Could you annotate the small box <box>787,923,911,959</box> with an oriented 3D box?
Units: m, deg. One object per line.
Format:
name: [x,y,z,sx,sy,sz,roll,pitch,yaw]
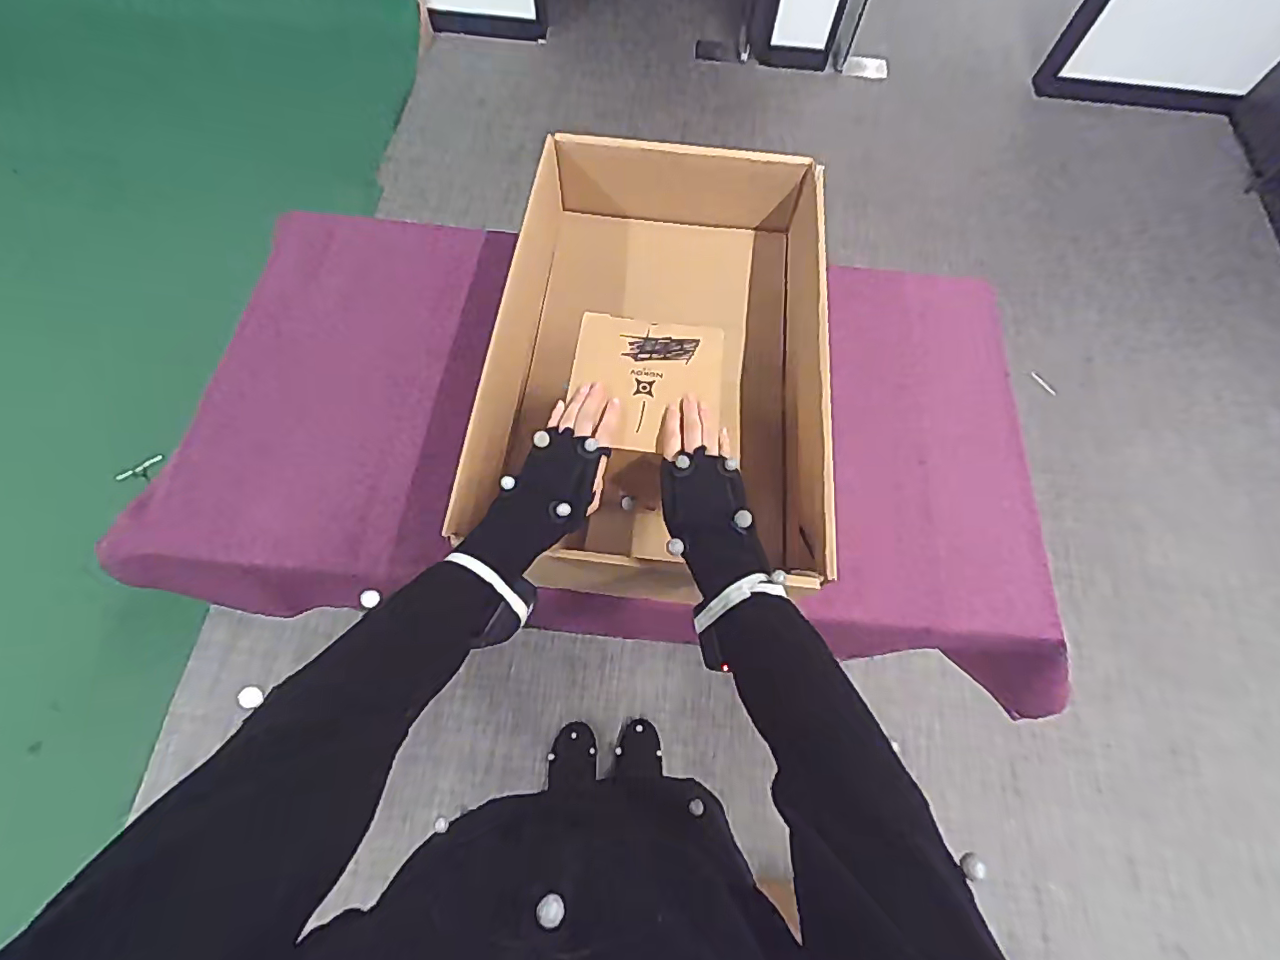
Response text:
small box: [0.320,0.795,0.800,0.168,0.176,0.179,7,66,1]

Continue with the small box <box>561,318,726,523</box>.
small box: [0.005,-0.065,0.659,0.168,0.176,0.179,7,65,1]
